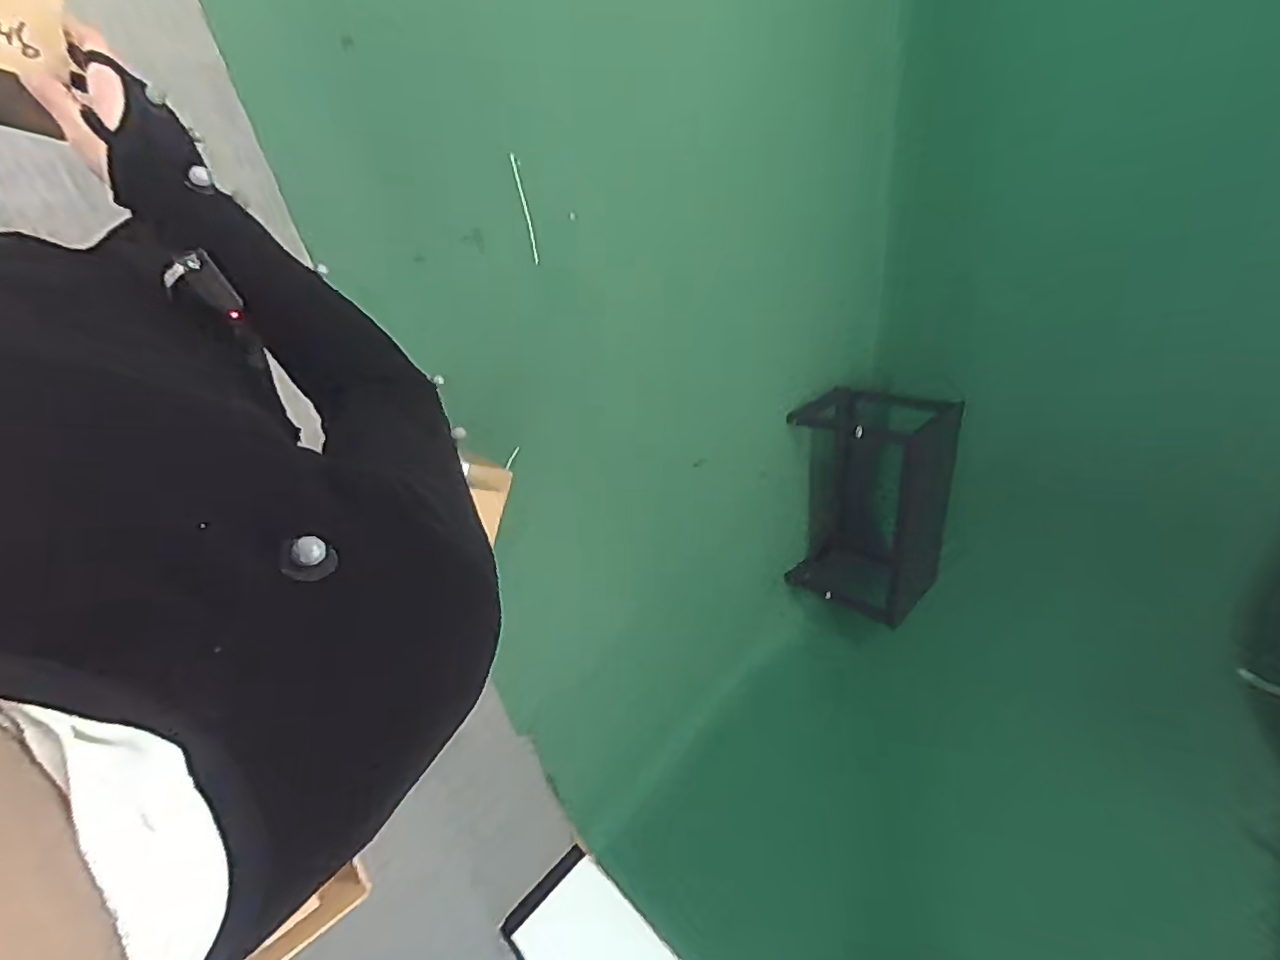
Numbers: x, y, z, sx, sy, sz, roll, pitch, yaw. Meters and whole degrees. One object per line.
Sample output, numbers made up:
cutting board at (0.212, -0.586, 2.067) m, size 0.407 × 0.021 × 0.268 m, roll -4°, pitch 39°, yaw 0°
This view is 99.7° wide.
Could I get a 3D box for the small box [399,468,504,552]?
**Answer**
small box at (-0.480, 0.074, 1.371) m, size 0.179 × 0.176 × 0.168 m, roll 11°, pitch 97°, yaw -46°
